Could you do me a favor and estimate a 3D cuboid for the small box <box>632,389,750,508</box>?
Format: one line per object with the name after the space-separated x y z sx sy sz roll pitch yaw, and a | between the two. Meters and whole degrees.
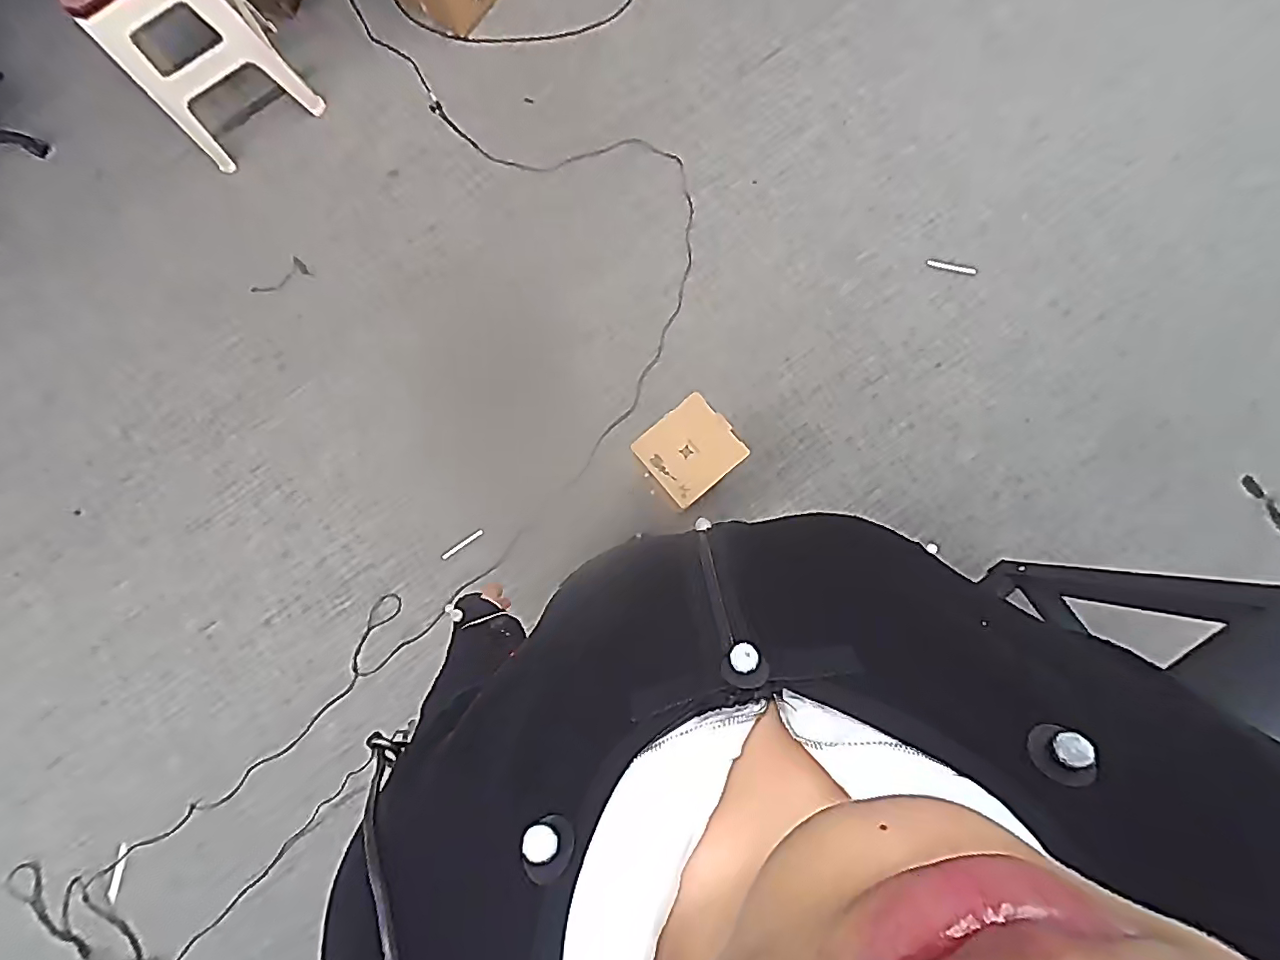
0.099 -0.058 1.131 0.179 0.176 0.168 -40 84 -2 | small box

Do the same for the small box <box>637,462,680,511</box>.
0.110 -0.031 1.456 0.179 0.176 0.168 -39 83 -1 | small box
